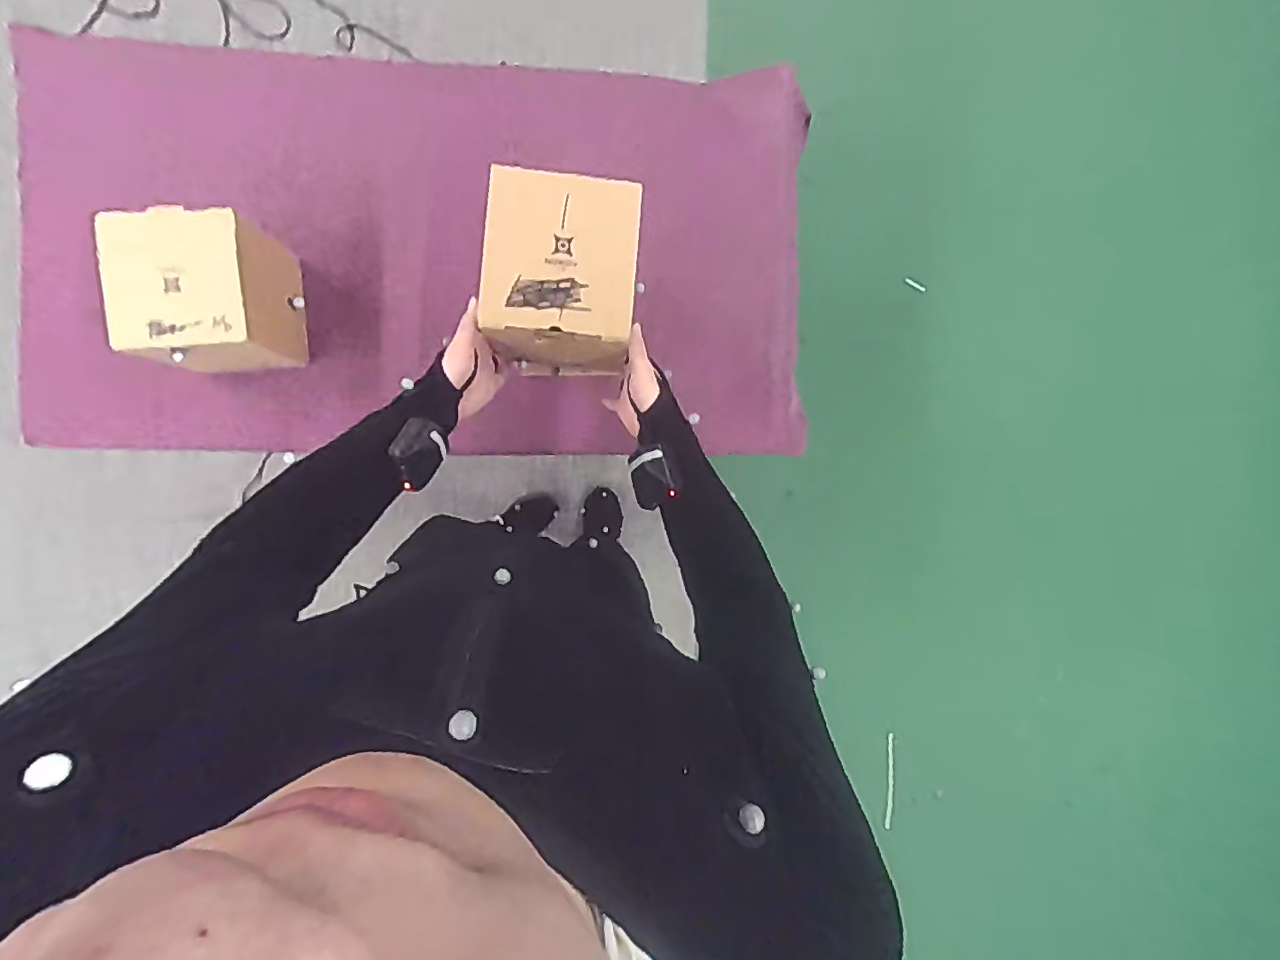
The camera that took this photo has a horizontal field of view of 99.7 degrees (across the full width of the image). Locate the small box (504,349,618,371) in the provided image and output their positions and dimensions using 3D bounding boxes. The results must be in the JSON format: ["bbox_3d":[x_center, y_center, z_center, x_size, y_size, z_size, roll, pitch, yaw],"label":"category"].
[{"bbox_3d":[-0.115,-0.266,0.828,0.168,0.176,0.179,-2,90,-5],"label":"small box"}]

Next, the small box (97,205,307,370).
[{"bbox_3d":[-0.610,-0.265,0.775,0.168,0.176,0.179,-6,92,-5],"label":"small box"}]

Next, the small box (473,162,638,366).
[{"bbox_3d":[-0.096,-0.246,0.661,0.168,0.176,0.179,5,89,-5],"label":"small box"}]
